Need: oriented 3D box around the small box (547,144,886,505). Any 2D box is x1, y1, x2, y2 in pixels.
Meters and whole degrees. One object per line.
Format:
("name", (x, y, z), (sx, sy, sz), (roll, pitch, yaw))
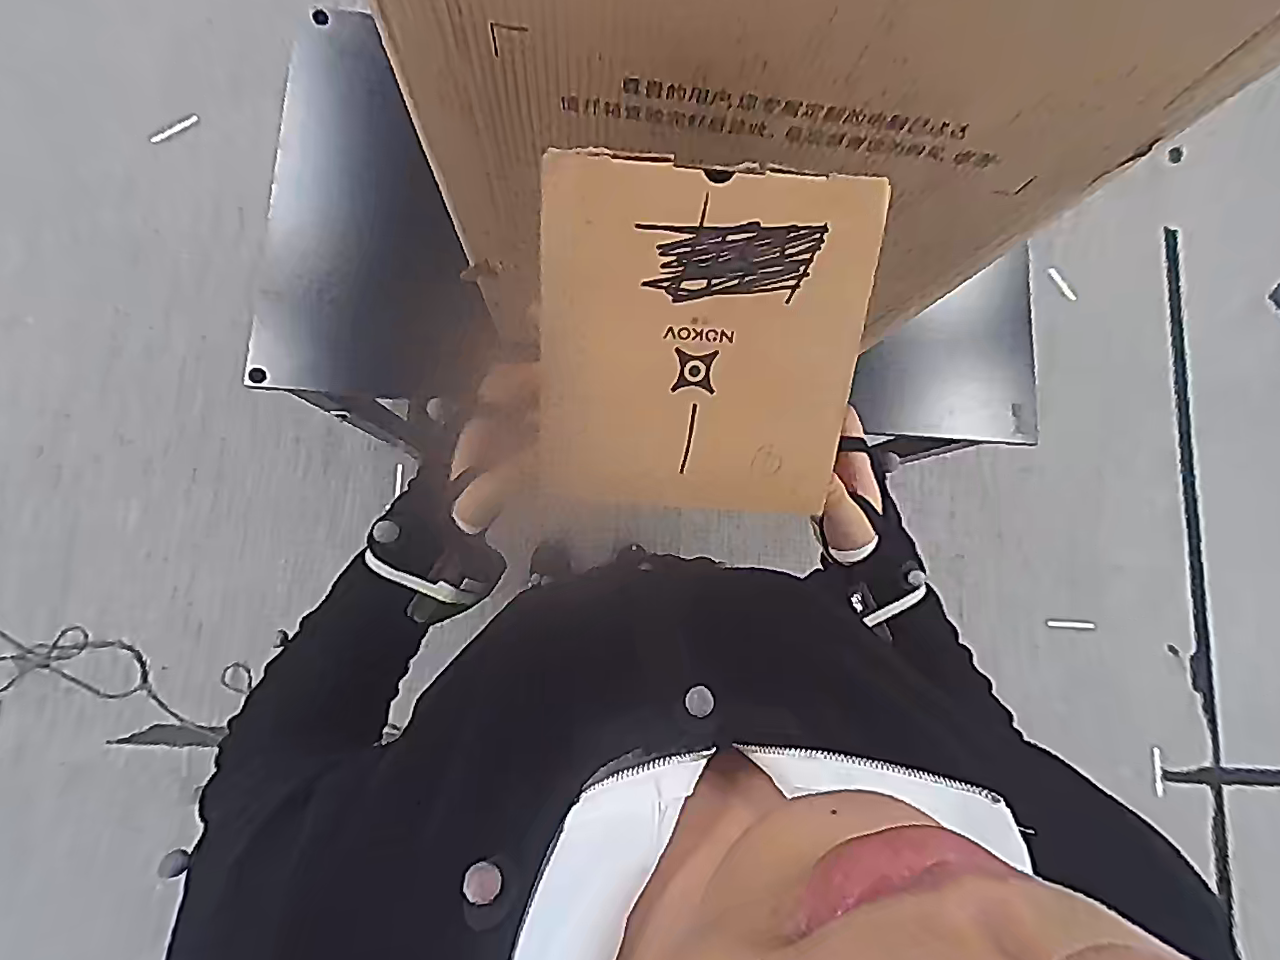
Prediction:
("small box", (0.032, -0.098, 0.362), (0.168, 0.176, 0.179), (4, 110, -3))
